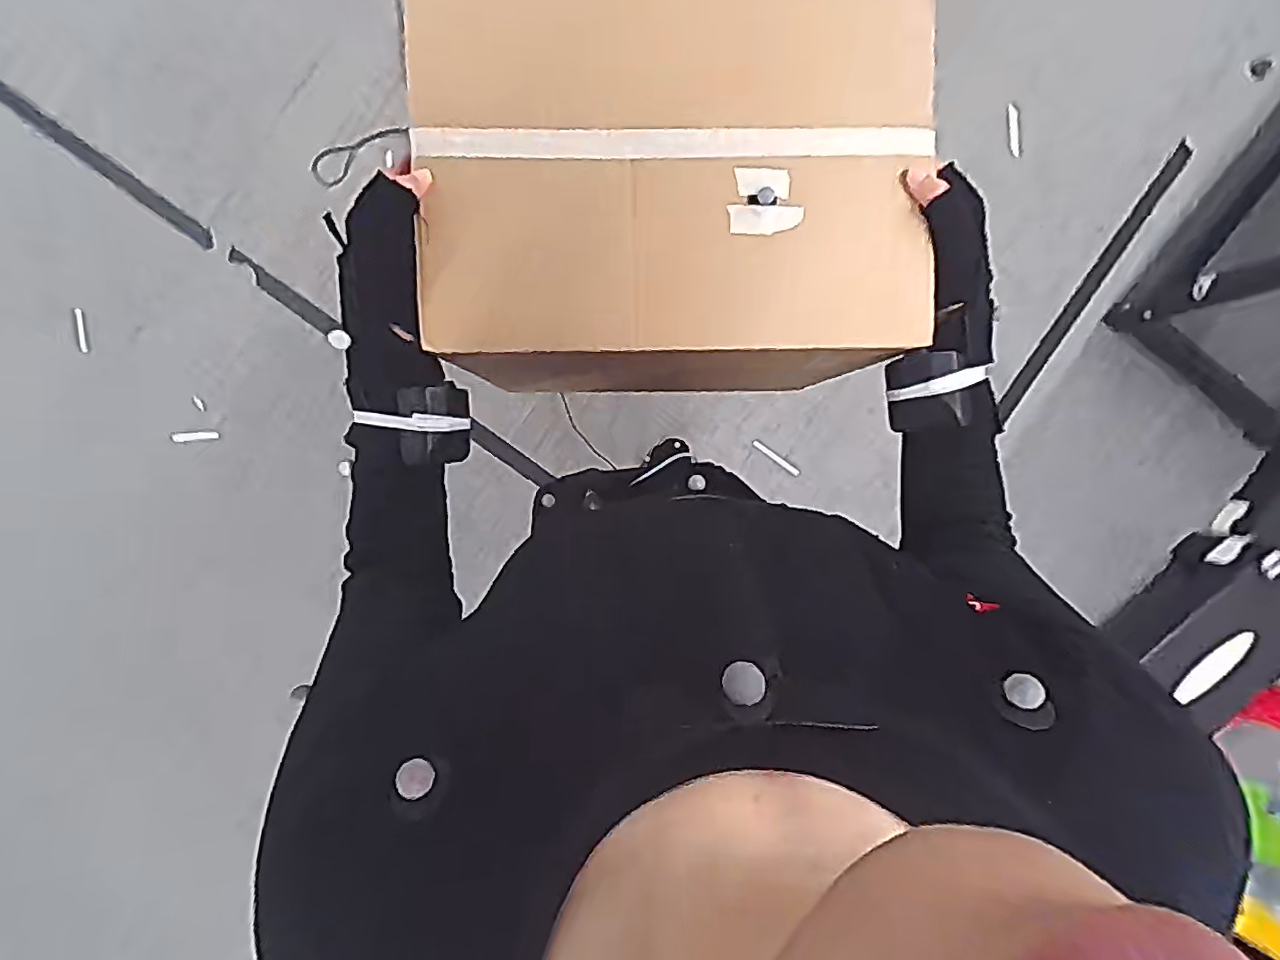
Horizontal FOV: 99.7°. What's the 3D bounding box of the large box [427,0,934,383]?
[{"bbox_3d":[0.027,-0.278,0.576,0.408,0.320,0.320,0,95,-3],"label":"large box"}]
